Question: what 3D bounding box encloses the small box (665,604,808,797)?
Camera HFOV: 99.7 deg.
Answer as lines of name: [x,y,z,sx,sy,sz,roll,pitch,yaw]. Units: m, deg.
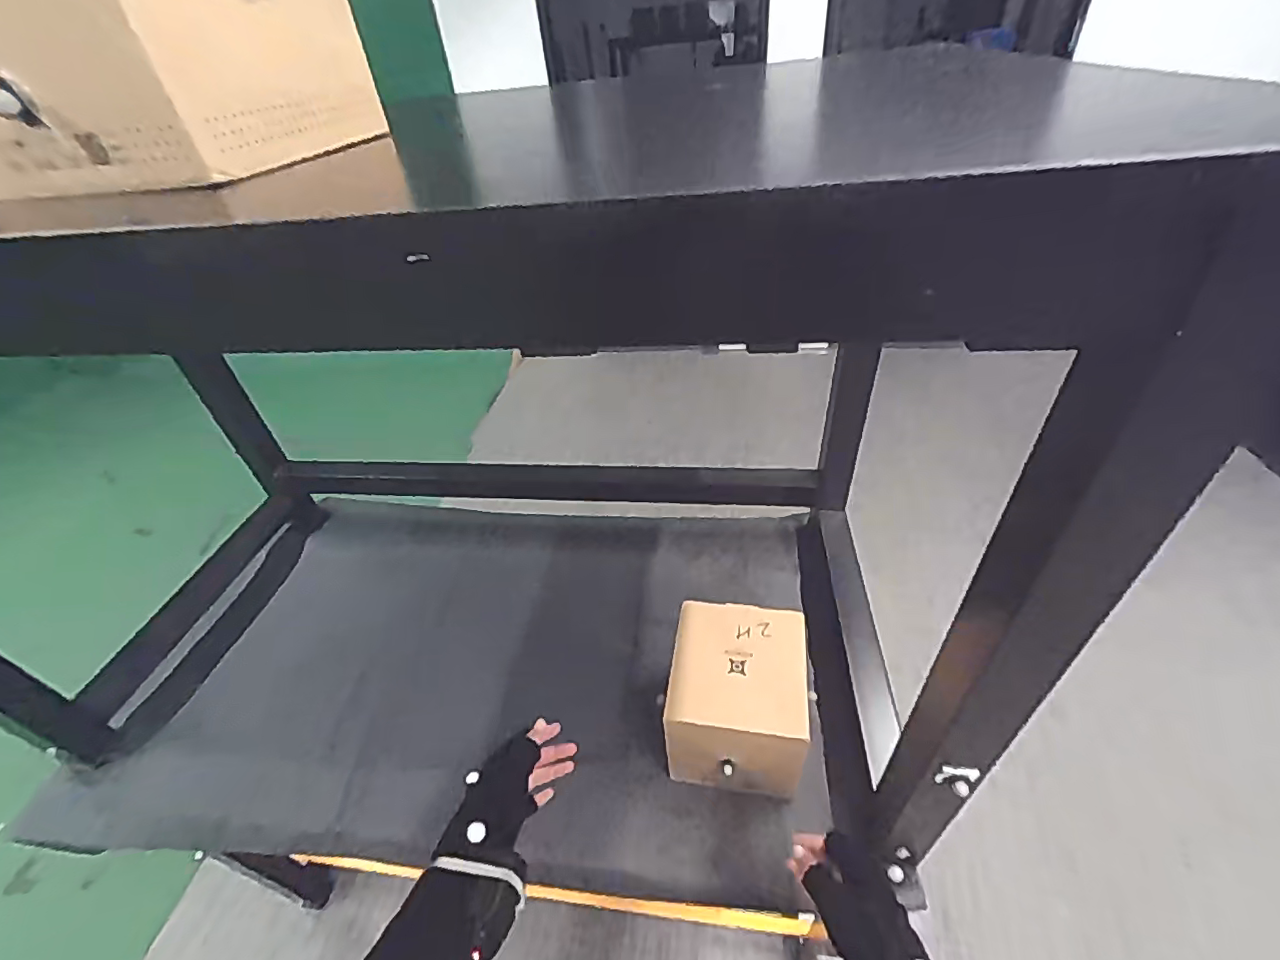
small box: [0.132,0.294,0.725,0.168,0.176,0.179,4,40,11]
